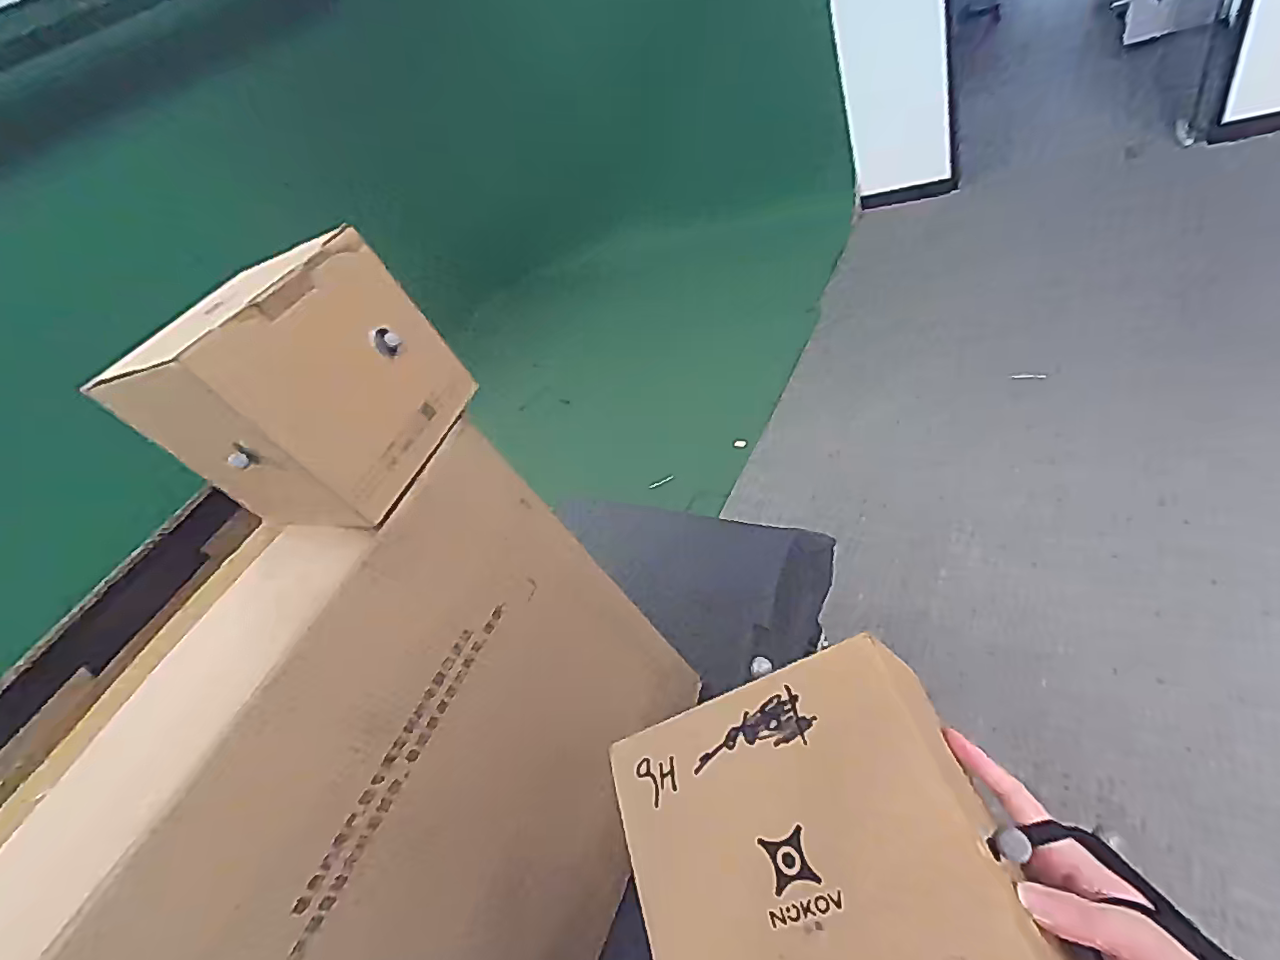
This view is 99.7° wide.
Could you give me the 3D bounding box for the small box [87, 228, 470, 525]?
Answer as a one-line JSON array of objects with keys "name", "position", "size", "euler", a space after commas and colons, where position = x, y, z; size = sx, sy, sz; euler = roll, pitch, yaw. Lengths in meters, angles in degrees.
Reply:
[{"name": "small box", "position": [-0.282, -0.074, 0.457], "size": [0.179, 0.176, 0.168], "euler": [-2, 47, 31]}]
